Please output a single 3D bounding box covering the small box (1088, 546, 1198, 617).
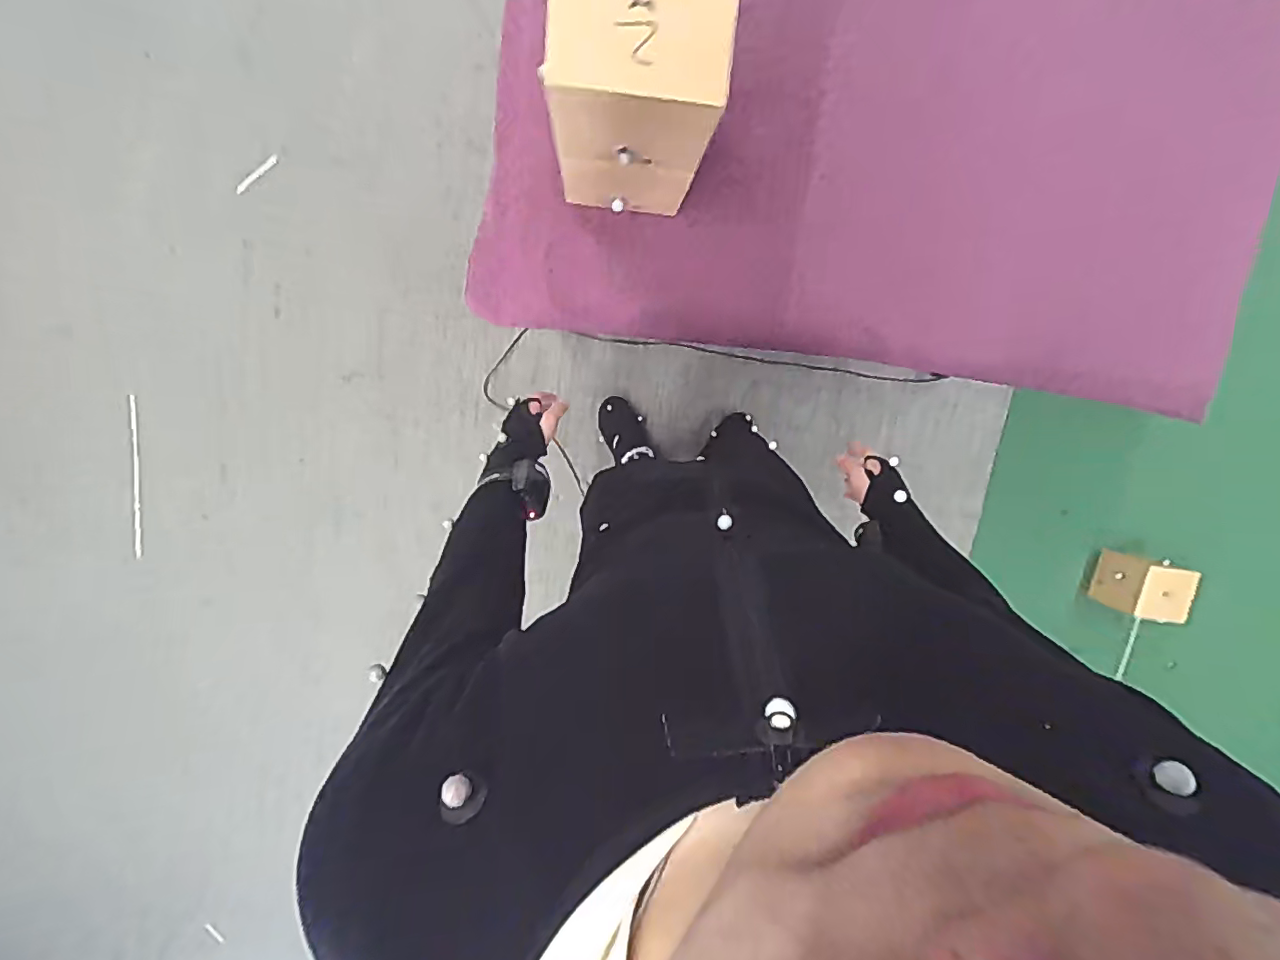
[{"bbox_3d":[1.584,0.315,1.715,0.179,0.176,0.168,8,99,-7],"label":"small box"}]

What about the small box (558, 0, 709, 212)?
[{"bbox_3d":[-0.016,-0.475,0.706,0.168,0.176,0.179,4,101,-5],"label":"small box"}]
